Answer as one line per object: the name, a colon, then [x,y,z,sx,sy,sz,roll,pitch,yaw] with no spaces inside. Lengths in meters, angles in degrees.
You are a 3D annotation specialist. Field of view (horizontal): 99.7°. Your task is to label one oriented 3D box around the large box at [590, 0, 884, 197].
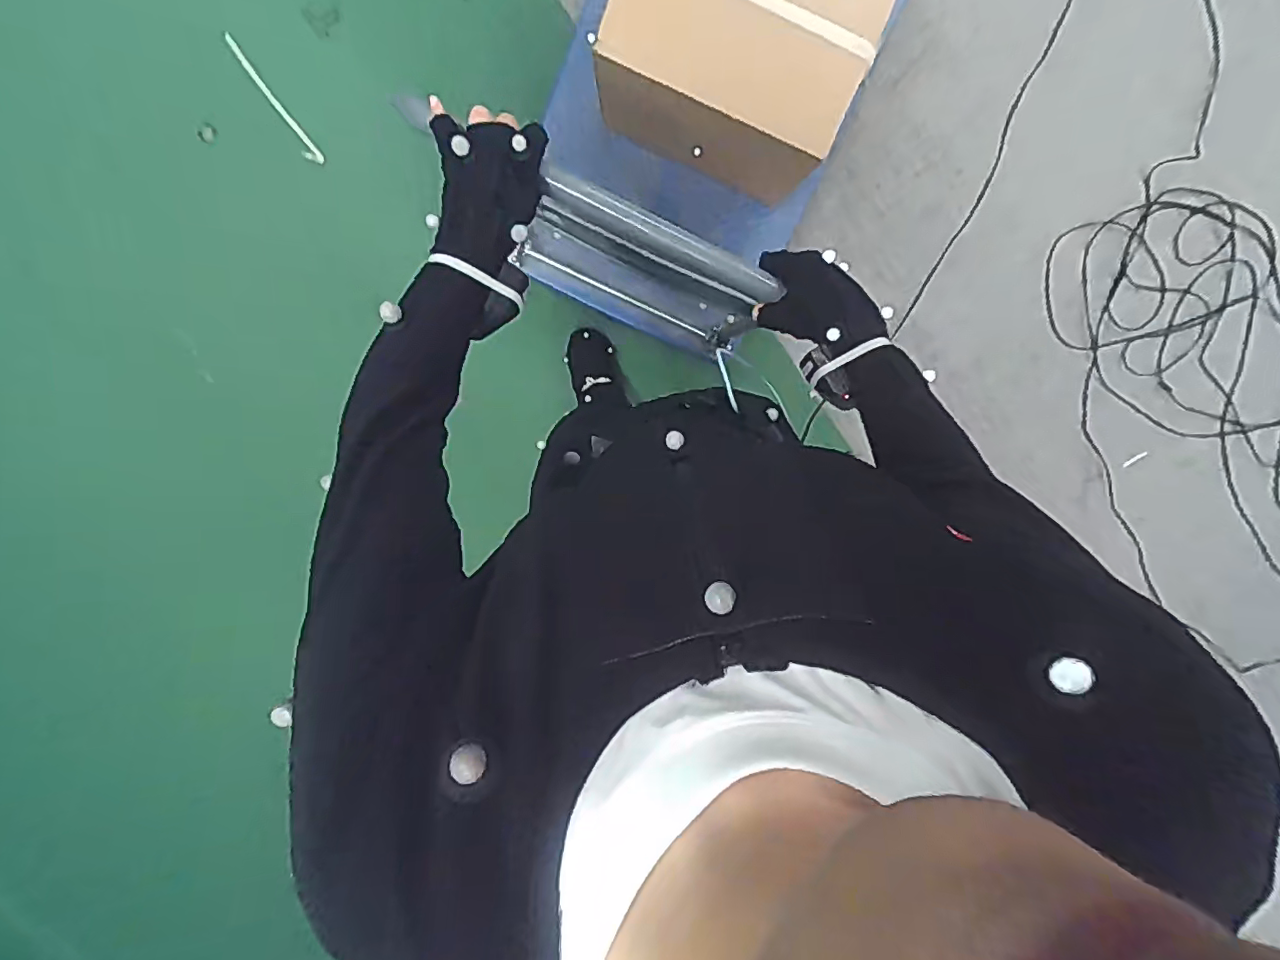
large box: [0.163,-0.769,0.962,0.408,0.320,0.320,22,102,-5]
